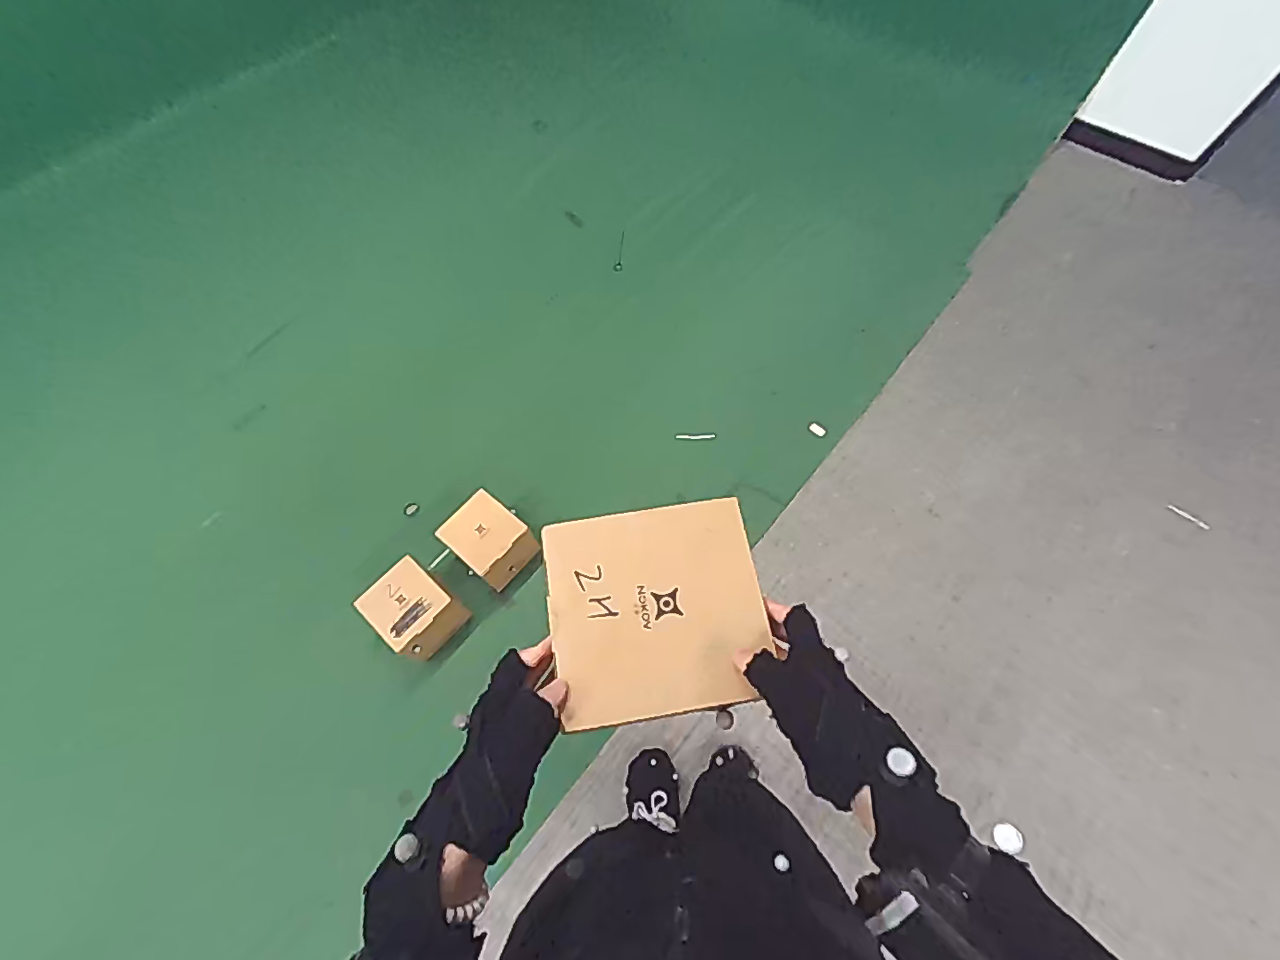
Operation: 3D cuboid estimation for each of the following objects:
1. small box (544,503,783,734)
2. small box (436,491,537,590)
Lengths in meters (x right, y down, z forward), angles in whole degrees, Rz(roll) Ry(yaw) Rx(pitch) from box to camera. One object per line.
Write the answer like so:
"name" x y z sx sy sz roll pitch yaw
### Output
"small box" 0.012 0.136 0.513 0.179 0.176 0.168 -8 65 -4
"small box" -0.398 0.166 1.430 0.179 0.176 0.168 37 70 16
